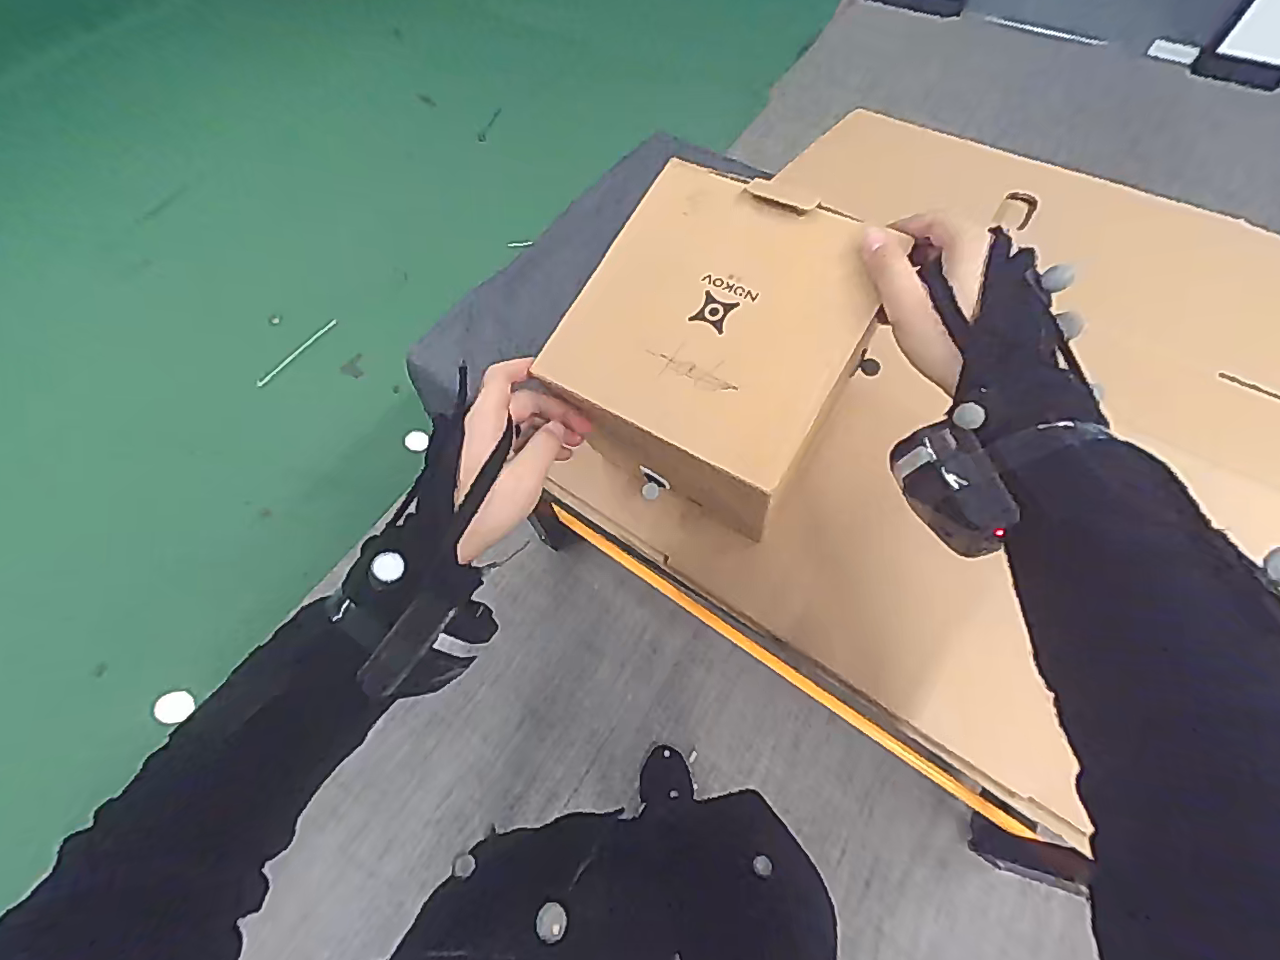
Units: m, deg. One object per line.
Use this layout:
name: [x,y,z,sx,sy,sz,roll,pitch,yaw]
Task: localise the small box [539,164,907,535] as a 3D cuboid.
small box: [0.060,-0.081,0.402,0.168,0.176,0.179,29,81,17]
